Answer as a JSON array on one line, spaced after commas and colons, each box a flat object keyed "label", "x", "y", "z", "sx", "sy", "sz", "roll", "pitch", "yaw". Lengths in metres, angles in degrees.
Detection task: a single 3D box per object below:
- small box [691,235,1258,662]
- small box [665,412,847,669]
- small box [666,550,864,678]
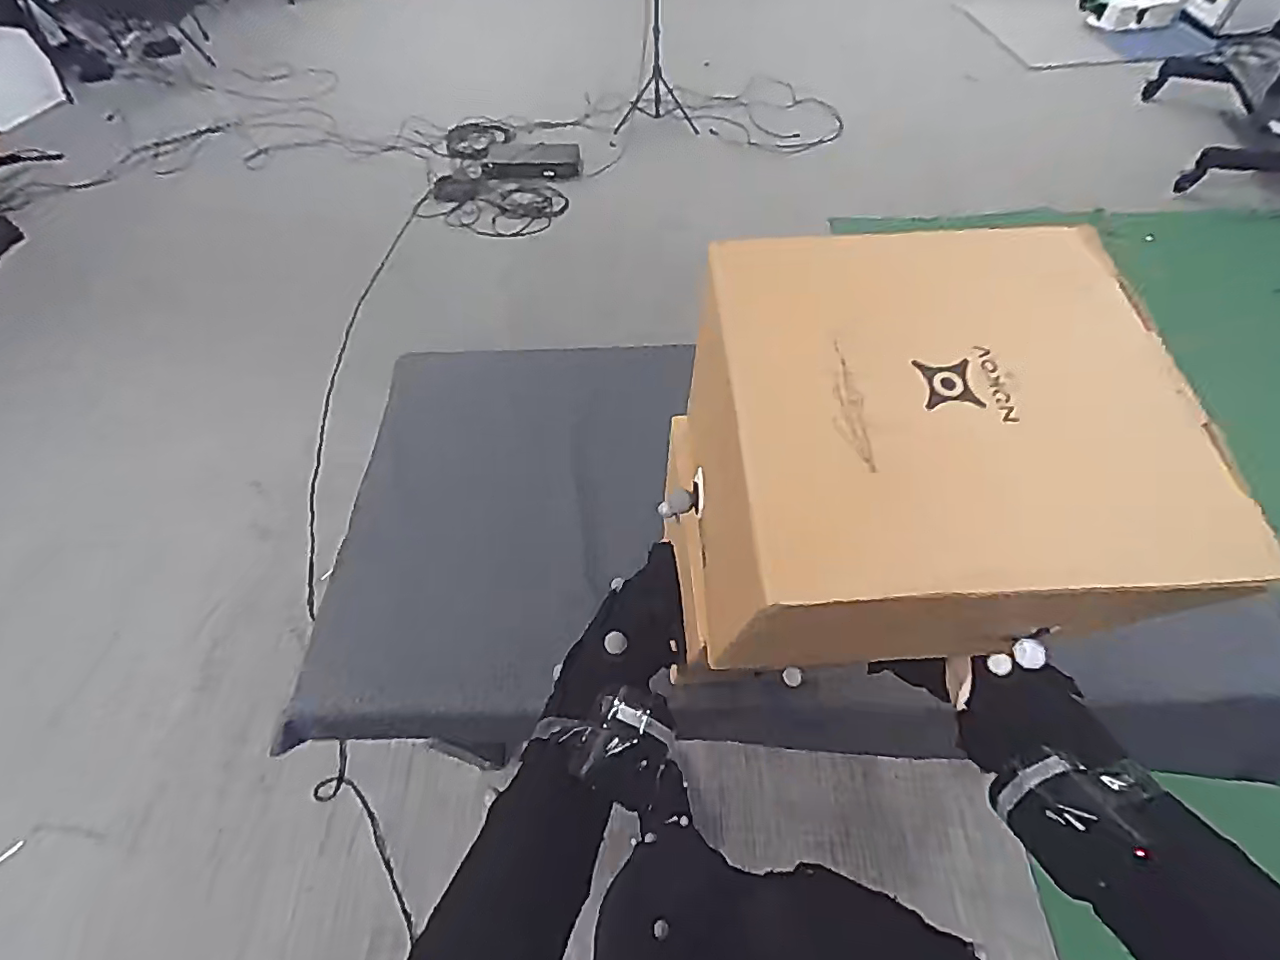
[{"label": "small box", "x": 0.124, "y": -0.001, "z": 0.290, "sx": 0.179, "sy": 0.176, "sz": 0.168, "roll": -4, "pitch": 63, "yaw": 0}, {"label": "small box", "x": 0.117, "y": 0.055, "z": 0.442, "sx": 0.179, "sy": 0.176, "sz": 0.168, "roll": -3, "pitch": 63, "yaw": -2}, {"label": "small box", "x": 0.122, "y": 0.122, "z": 0.593, "sx": 0.179, "sy": 0.176, "sz": 0.168, "roll": -2, "pitch": 64, "yaw": 0}]
